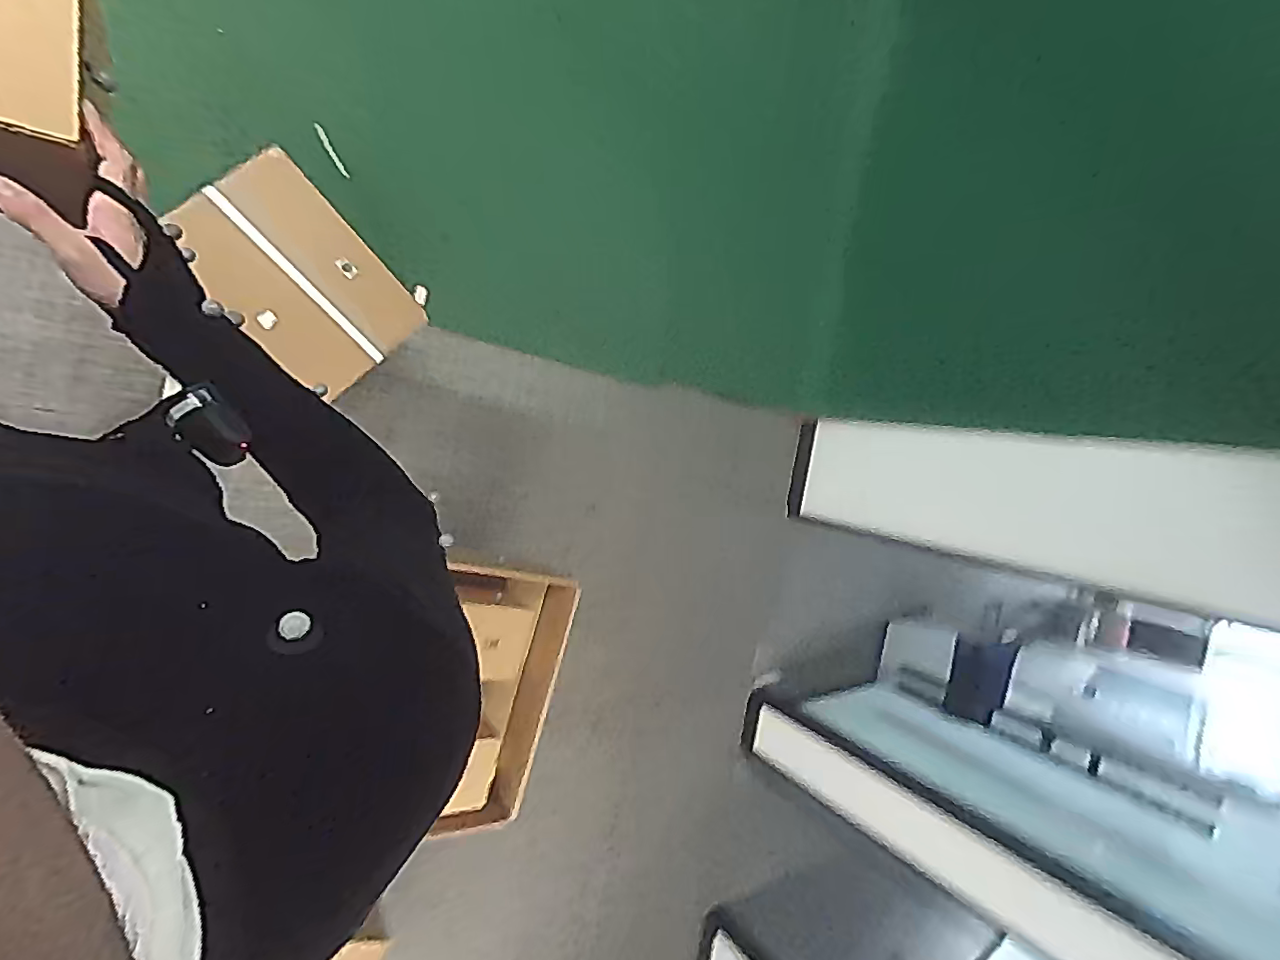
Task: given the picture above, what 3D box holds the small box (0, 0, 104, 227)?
[{"bbox_3d":[-0.533,-0.327,0.409,0.168,0.176,0.179,-1,91,-40],"label":"small box"}]
